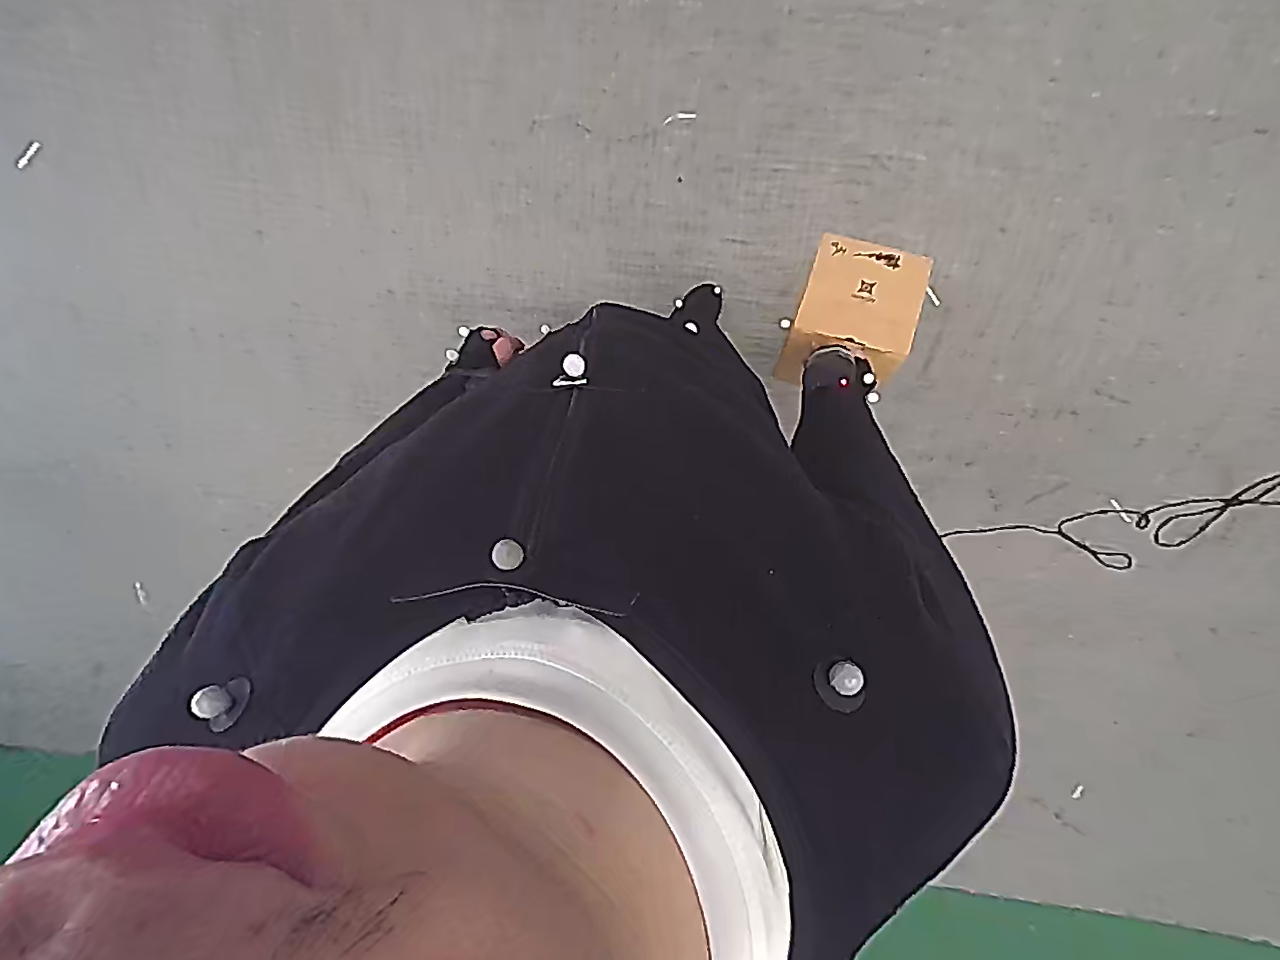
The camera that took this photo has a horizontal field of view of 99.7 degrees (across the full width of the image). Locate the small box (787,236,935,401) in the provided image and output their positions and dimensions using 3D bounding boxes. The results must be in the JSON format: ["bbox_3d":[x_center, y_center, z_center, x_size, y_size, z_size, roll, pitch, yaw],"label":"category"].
[{"bbox_3d":[0.341,-0.250,0.867,0.168,0.176,0.179,16,75,11],"label":"small box"}]
